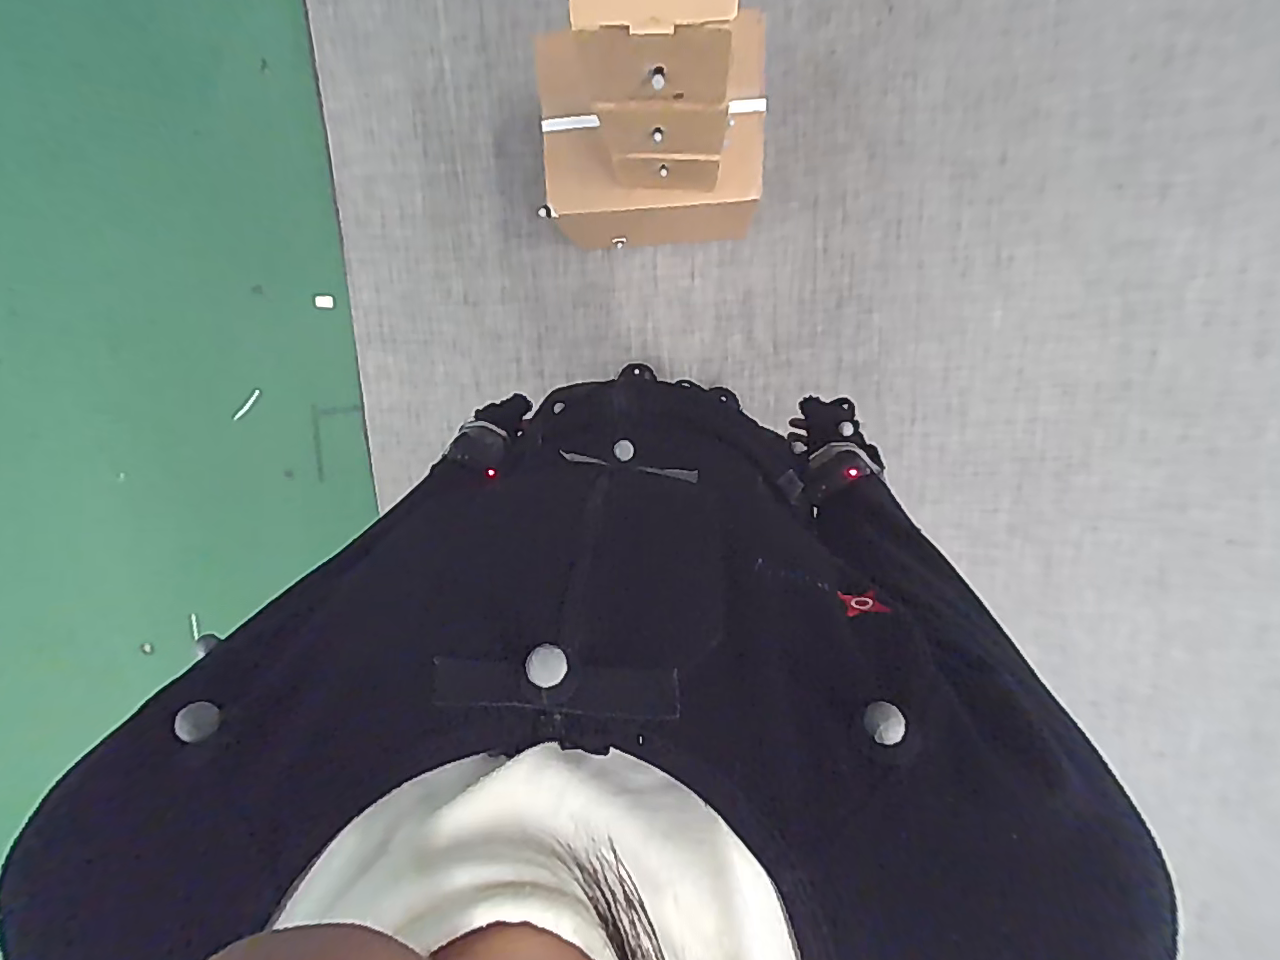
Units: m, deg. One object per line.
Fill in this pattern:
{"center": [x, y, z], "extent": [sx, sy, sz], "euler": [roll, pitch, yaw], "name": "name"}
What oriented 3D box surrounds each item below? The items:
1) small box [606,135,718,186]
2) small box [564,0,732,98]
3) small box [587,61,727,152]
{"center": [0.044, -0.607, 0.906], "extent": [0.179, 0.176, 0.168], "euler": [4, 105, 3], "name": "small box"}
{"center": [0.018, -0.544, 0.586], "extent": [0.168, 0.176, 0.179], "euler": [4, 105, 5], "name": "small box"}
{"center": [0.031, -0.574, 0.747], "extent": [0.179, 0.176, 0.168], "euler": [5, 104, 7], "name": "small box"}
